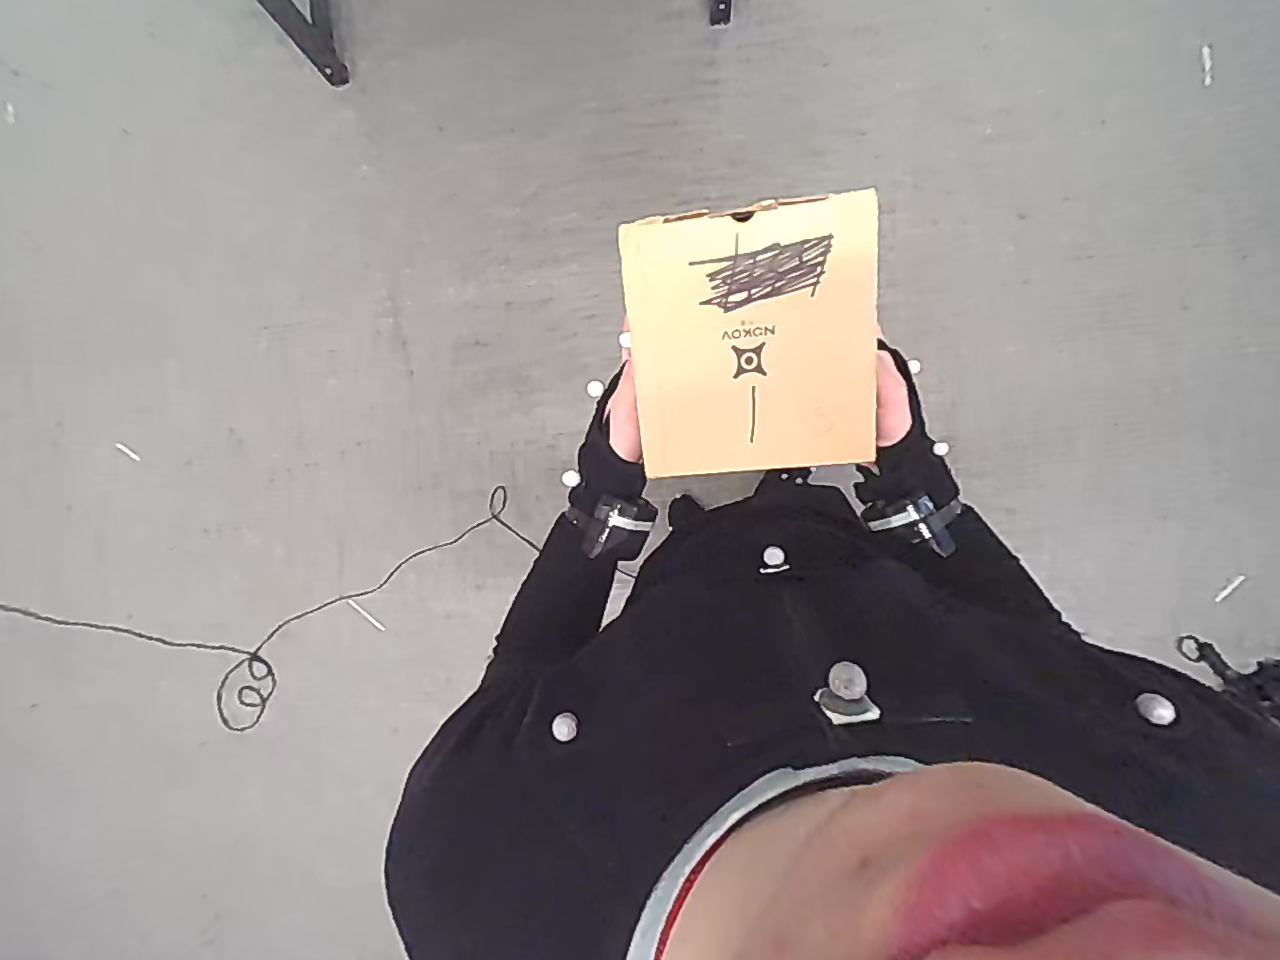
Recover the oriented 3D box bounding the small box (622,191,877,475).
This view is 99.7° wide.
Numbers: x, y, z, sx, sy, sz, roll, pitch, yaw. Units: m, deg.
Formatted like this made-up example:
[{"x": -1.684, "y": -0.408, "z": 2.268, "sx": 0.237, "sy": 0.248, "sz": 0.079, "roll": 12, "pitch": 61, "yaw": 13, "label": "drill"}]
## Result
[{"x": 0.085, "y": -0.114, "z": 0.444, "sx": 0.168, "sy": 0.176, "sz": 0.179, "roll": -4, "pitch": 106, "yaw": 9, "label": "small box"}]
